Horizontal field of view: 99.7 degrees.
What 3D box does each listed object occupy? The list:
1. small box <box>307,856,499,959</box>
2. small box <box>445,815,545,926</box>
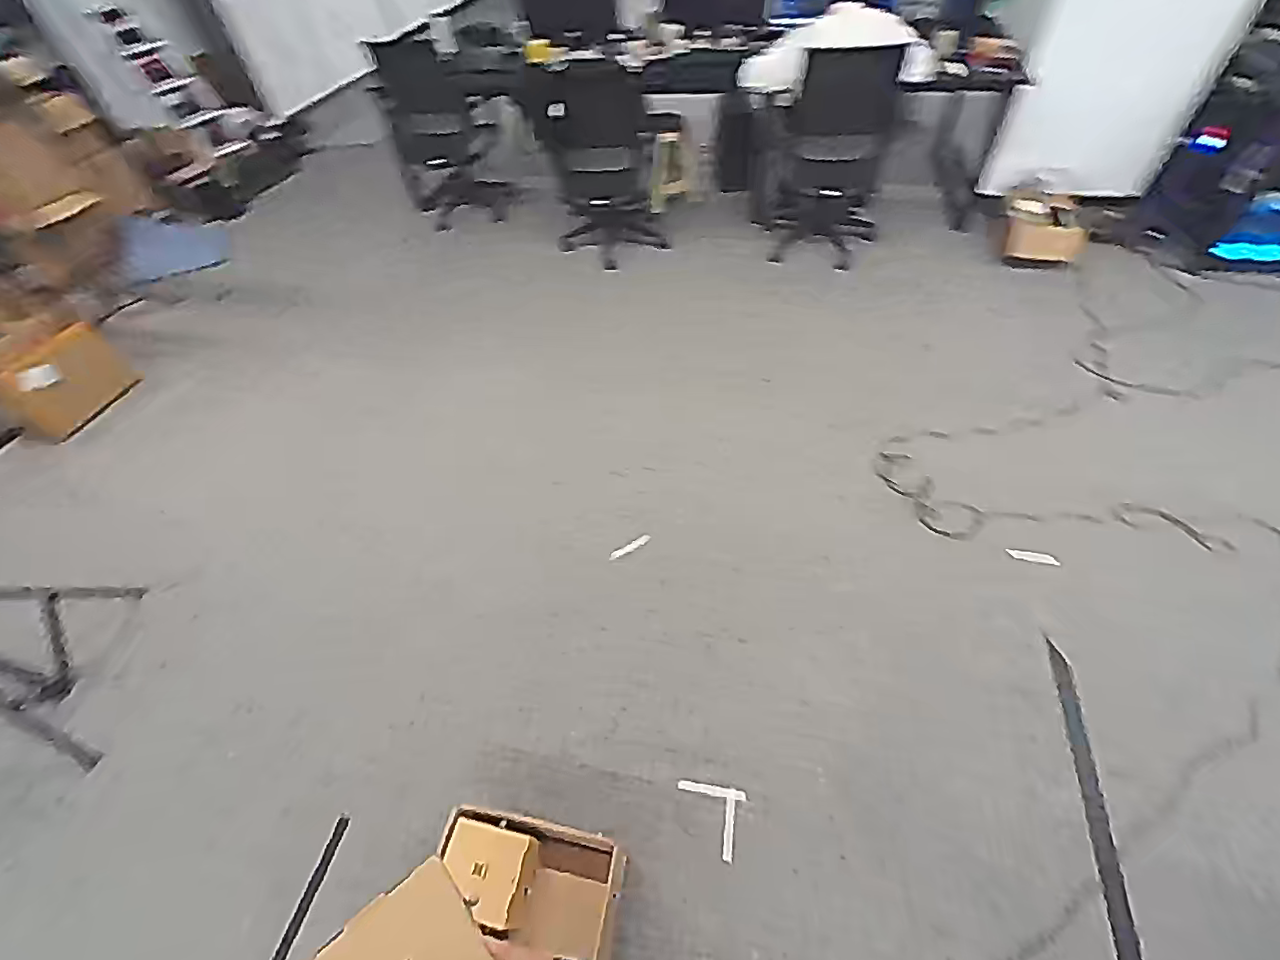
[{"bbox_3d":[-0.236,0.565,0.577,0.168,0.176,0.179,-29,47,-33],"label":"small box"},{"bbox_3d":[-0.334,0.886,1.226,0.179,0.176,0.168,9,53,10],"label":"small box"}]
